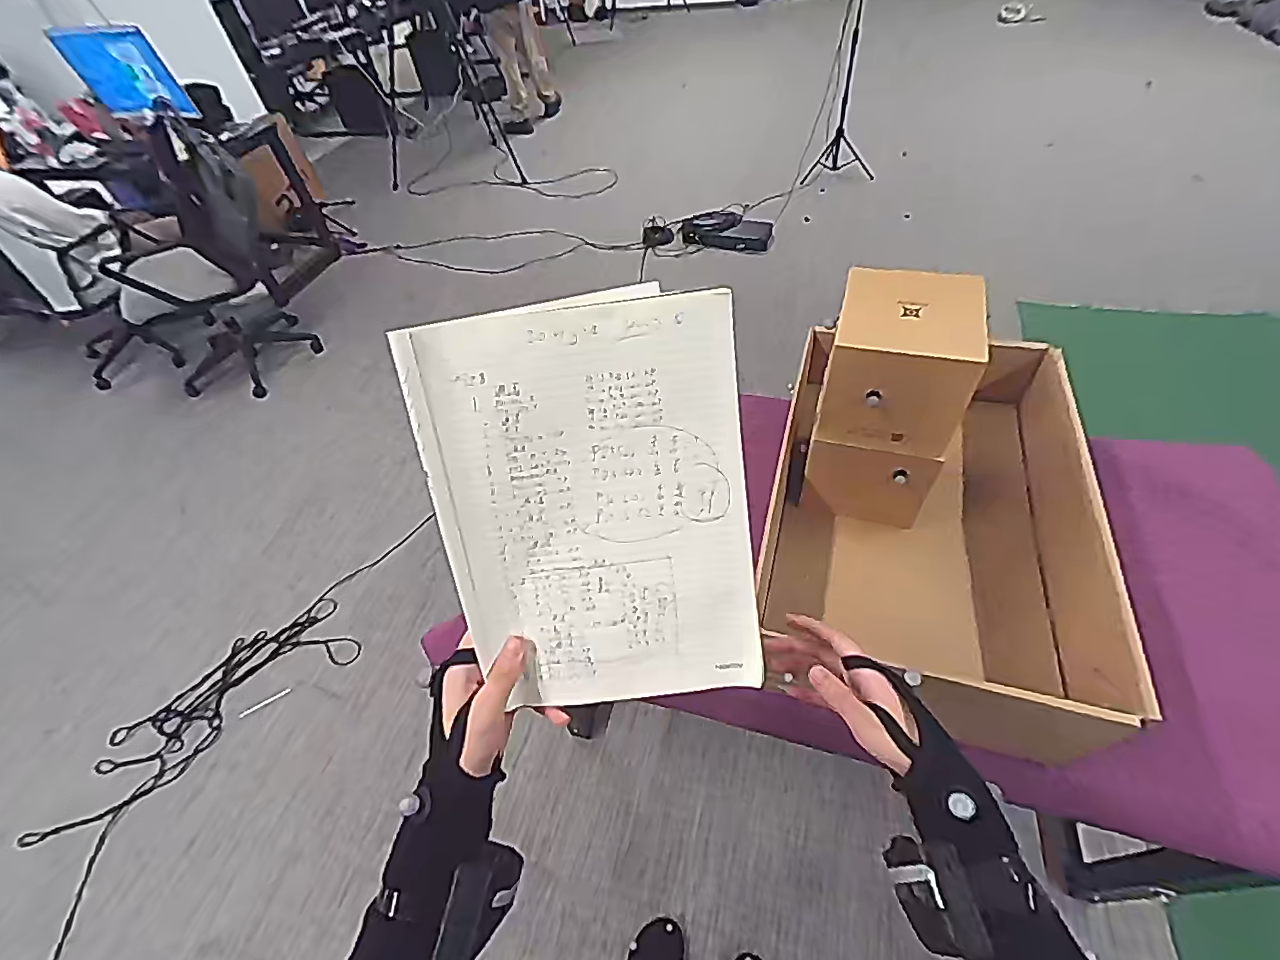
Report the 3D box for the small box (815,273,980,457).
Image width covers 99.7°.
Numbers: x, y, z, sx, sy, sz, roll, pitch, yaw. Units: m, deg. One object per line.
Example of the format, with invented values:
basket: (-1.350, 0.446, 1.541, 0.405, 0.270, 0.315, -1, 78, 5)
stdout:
small box: (0.339, -0.154, 0.730, 0.168, 0.176, 0.179, 11, 53, 17)
